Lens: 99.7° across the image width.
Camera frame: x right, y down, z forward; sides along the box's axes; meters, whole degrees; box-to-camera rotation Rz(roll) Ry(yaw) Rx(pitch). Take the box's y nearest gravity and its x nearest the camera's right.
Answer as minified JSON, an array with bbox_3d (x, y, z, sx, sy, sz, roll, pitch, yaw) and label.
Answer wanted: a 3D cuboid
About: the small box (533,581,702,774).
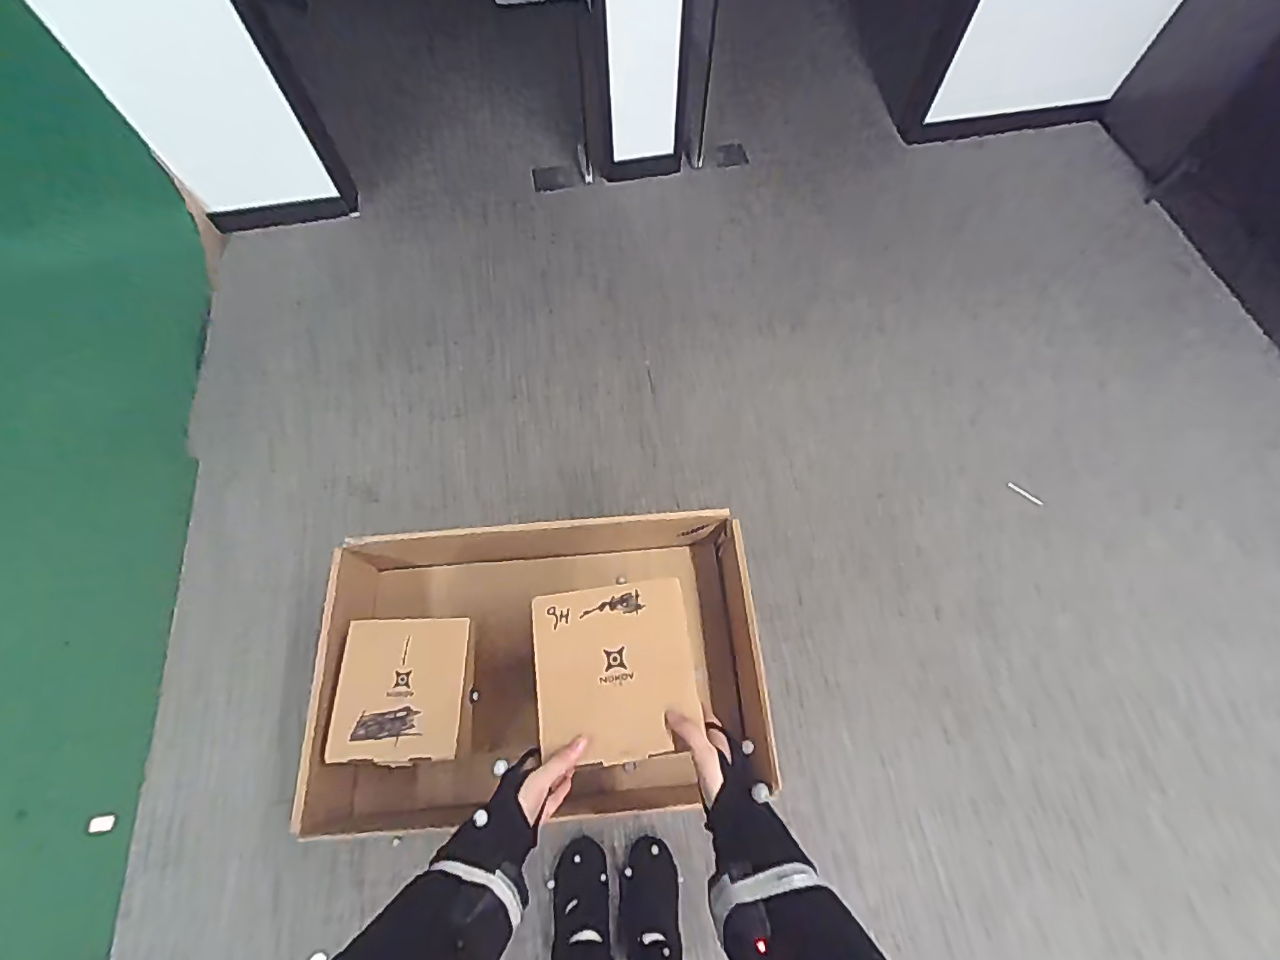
[{"bbox_3d":[-0.026,0.229,0.636,0.168,0.176,0.179,-7,67,-3],"label":"small box"}]
